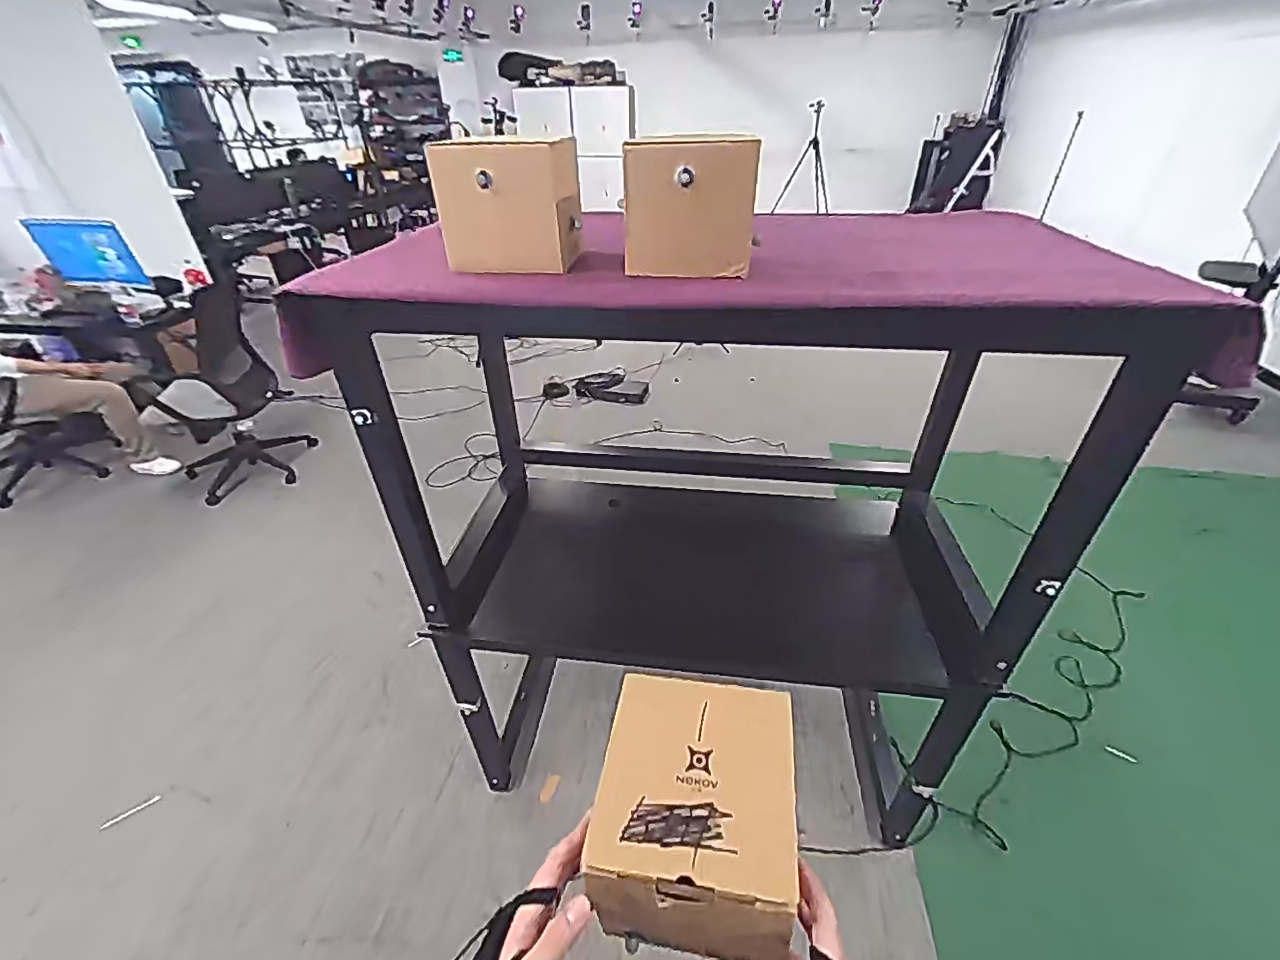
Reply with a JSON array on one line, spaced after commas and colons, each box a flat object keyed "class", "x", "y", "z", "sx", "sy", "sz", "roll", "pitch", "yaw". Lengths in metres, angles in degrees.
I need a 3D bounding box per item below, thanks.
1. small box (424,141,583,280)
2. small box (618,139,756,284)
[{"class": "small box", "x": -0.193, "y": -0.409, "z": 0.822, "sx": 0.179, "sy": 0.176, "sz": 0.168, "roll": 2, "pitch": 36, "yaw": 6}, {"class": "small box", "x": 0.071, "y": -0.388, "z": 0.780, "sx": 0.179, "sy": 0.176, "sz": 0.168, "roll": 4, "pitch": 35, "yaw": 8}]
